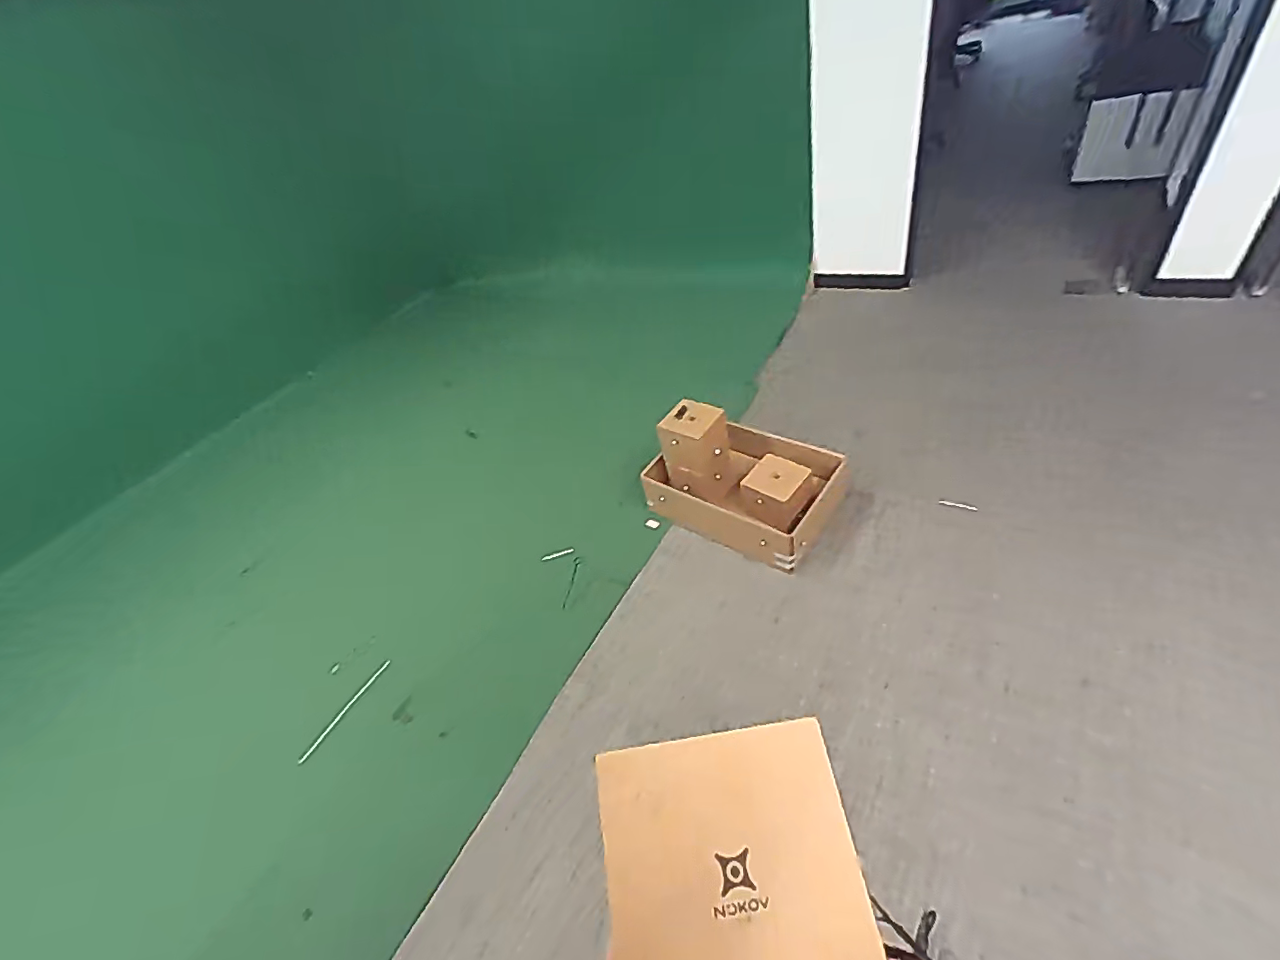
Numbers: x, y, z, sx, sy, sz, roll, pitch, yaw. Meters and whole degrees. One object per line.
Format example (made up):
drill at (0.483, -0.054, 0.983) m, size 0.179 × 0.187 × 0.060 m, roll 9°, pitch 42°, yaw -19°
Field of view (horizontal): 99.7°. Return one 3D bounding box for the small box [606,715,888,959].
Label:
small box at (0.062, 0.295, 0.421) m, size 0.168 × 0.176 × 0.179 m, roll -6°, pitch 62°, yaw -6°

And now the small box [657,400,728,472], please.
small box at (0.187, -0.151, 1.886) m, size 0.179 × 0.176 × 0.168 m, roll 22°, pitch 55°, yaw 33°
